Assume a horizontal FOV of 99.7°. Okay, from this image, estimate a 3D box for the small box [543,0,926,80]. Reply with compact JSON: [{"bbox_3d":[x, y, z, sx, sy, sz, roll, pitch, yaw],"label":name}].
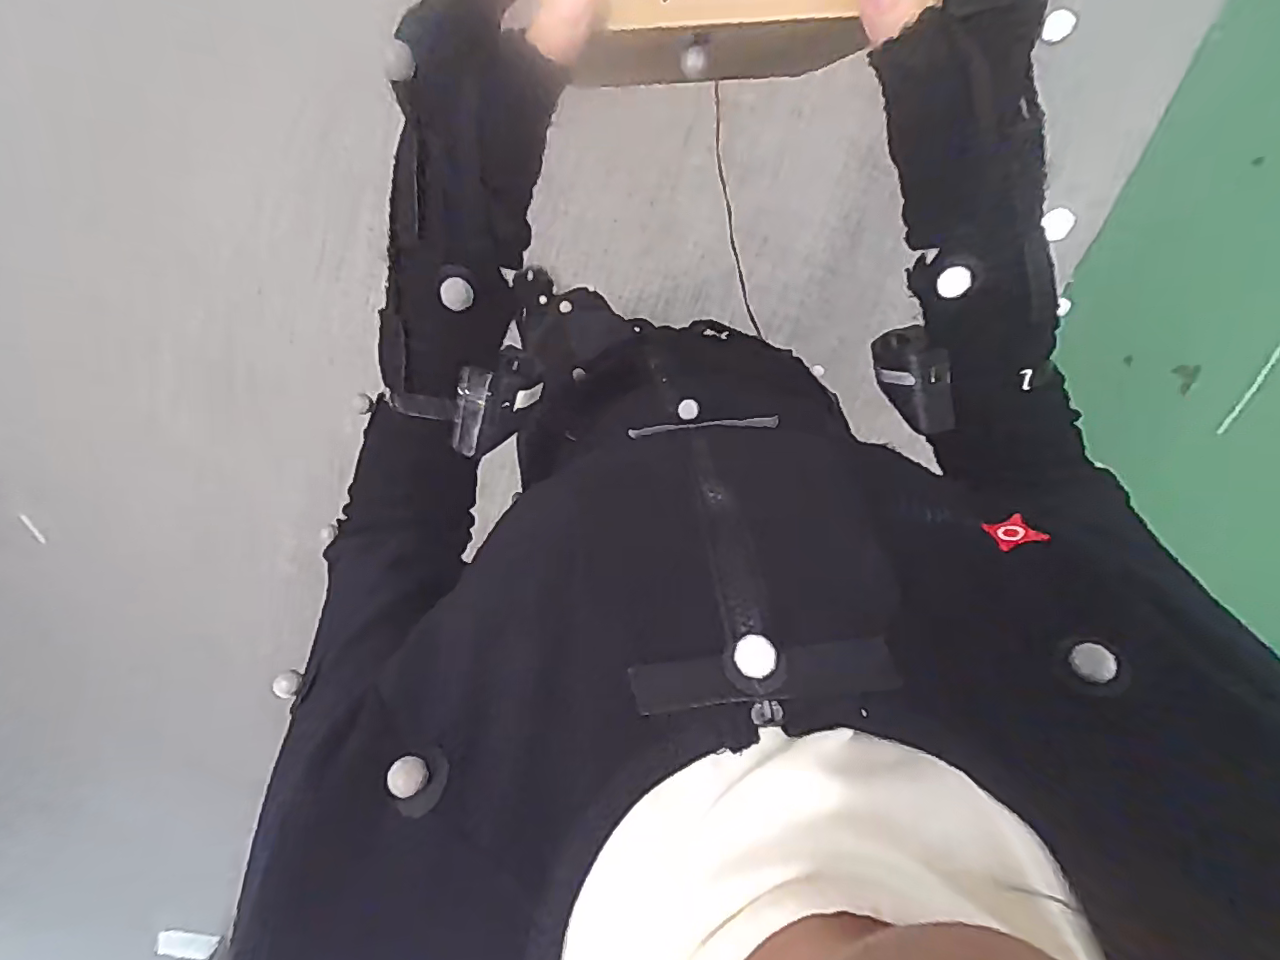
[{"bbox_3d":[0.032,-0.309,0.252,0.168,0.176,0.179,-3,120,-1],"label":"small box"}]
